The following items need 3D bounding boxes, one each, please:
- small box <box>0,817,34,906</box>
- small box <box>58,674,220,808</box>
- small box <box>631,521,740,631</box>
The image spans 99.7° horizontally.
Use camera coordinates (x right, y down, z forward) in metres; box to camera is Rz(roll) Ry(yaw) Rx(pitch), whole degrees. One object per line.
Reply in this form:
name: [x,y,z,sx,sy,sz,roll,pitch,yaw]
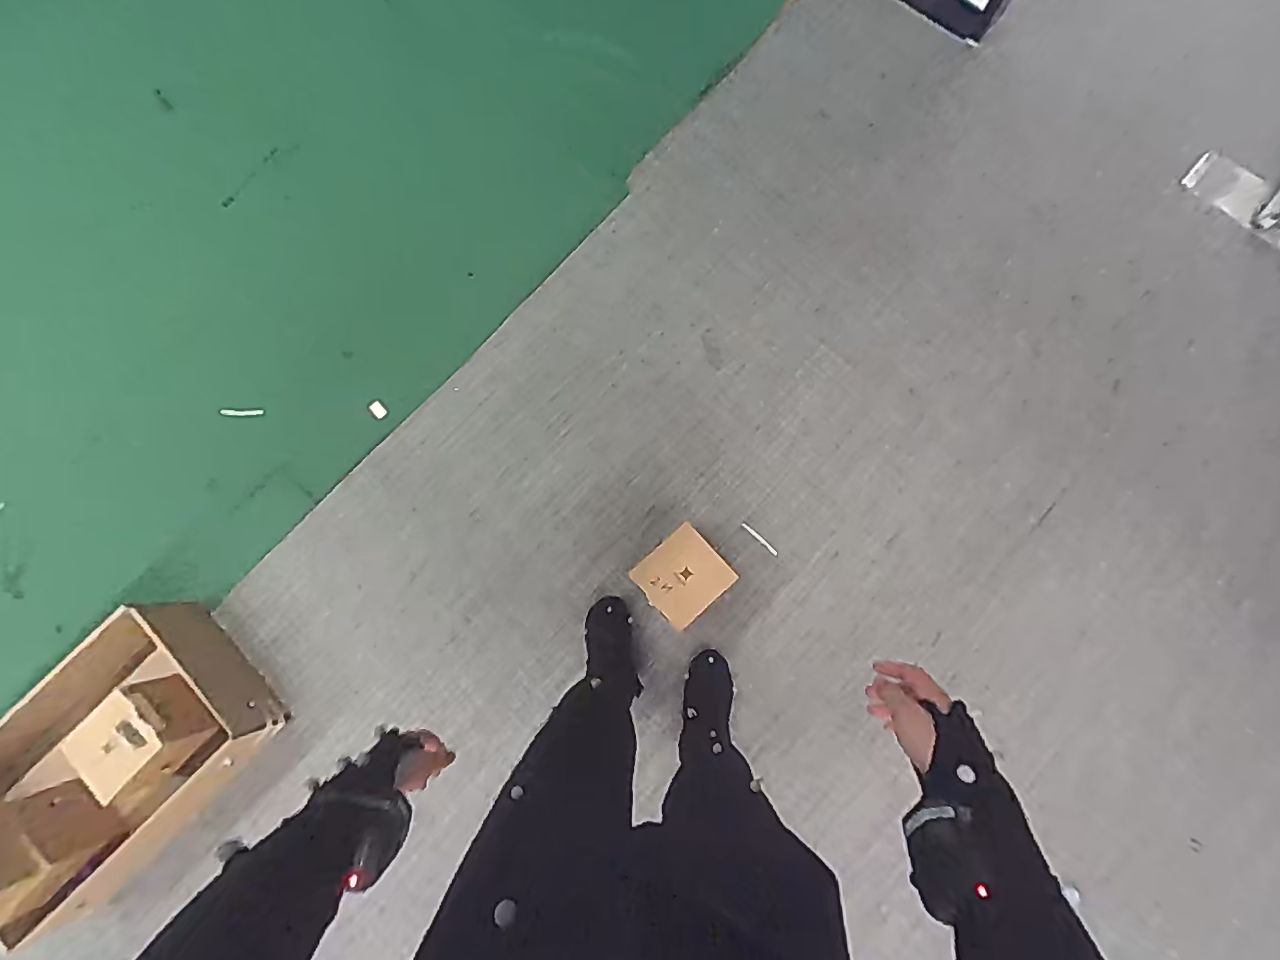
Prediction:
small box: [-1.310,0.765,0.999,0.168,0.176,0.179,-44,83,-4]
small box: [-1.076,0.557,1.184,0.168,0.176,0.179,44,87,8]
small box: [0.098,0.213,1.225,0.179,0.176,0.168,-42,81,-3]
